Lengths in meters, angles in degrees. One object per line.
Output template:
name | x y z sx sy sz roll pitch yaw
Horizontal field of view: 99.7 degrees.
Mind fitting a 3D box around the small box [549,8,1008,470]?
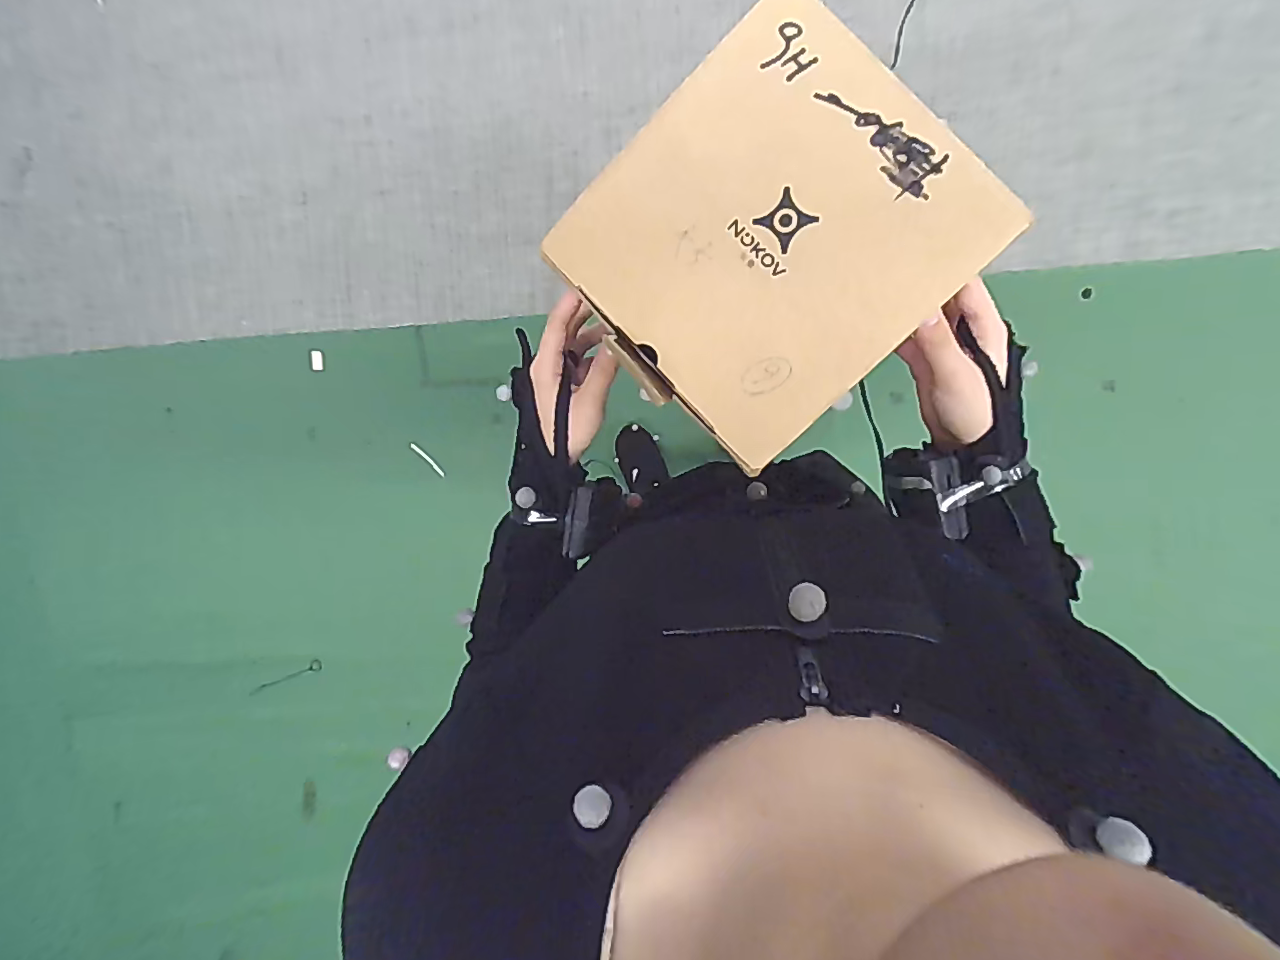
small box | 0.076 -0.125 0.356 0.179 0.176 0.168 -44 87 9
